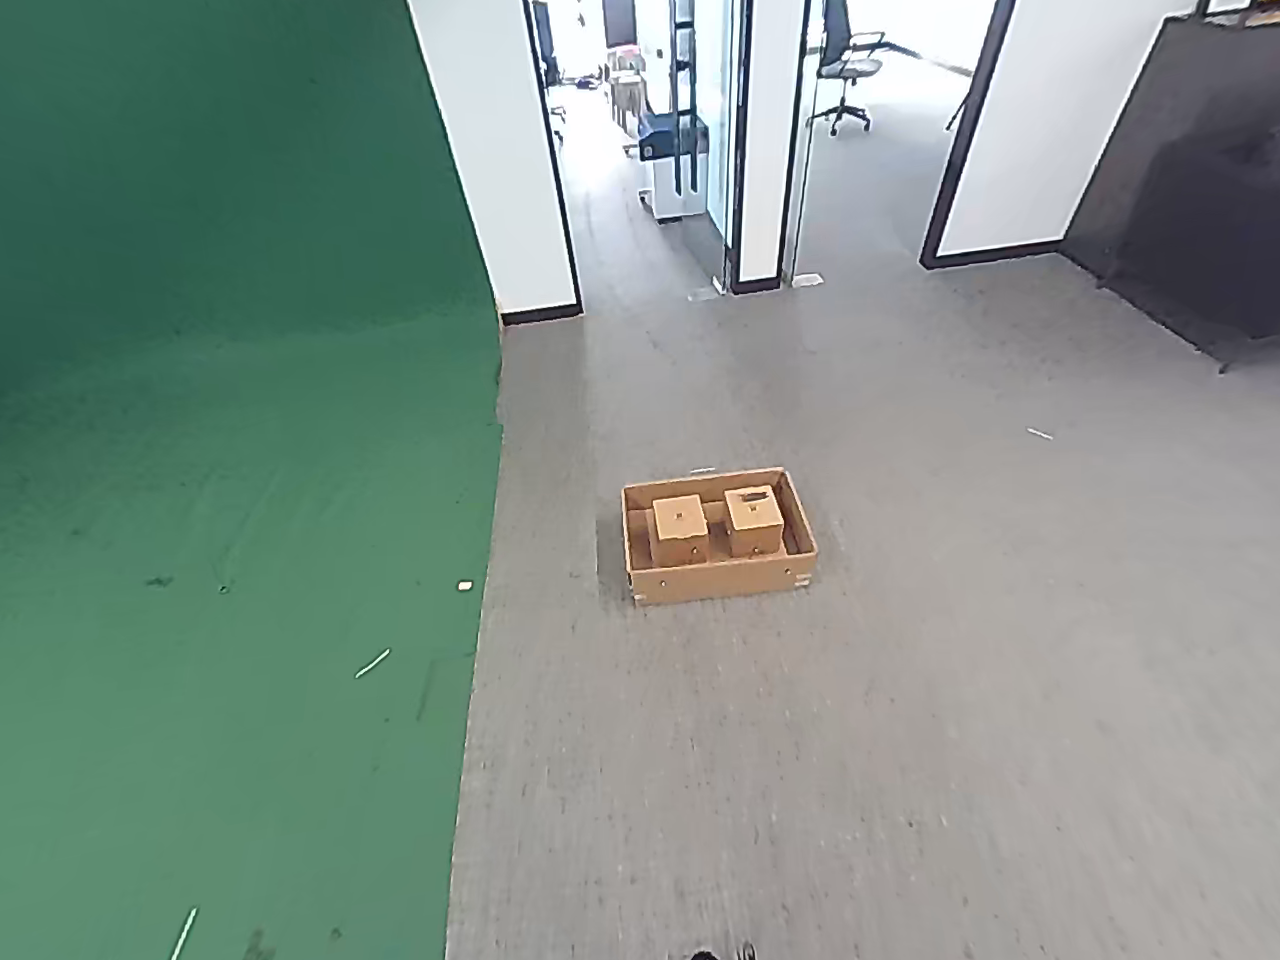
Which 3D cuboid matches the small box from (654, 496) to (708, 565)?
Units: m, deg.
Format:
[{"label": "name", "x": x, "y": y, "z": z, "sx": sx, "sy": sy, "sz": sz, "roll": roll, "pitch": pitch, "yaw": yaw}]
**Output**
[{"label": "small box", "x": 0.141, "y": 0.182, "z": 1.882, "sx": 0.168, "sy": 0.176, "sz": 0.179, "roll": -6, "pitch": 46, "yaw": -2}]
